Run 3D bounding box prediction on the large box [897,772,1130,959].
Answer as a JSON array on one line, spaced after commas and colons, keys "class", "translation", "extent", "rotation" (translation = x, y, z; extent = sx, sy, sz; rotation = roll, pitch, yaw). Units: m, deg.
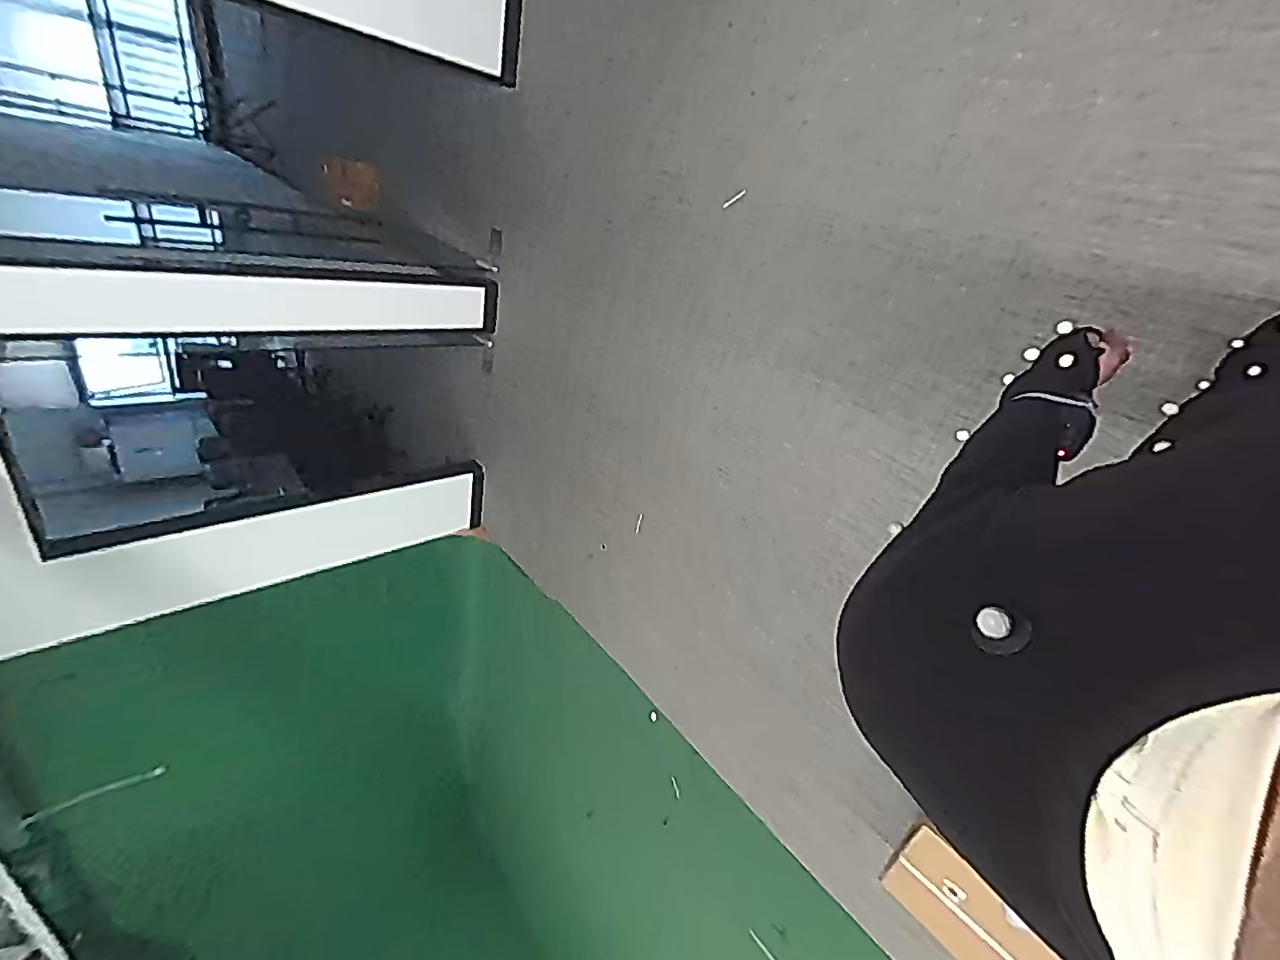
[{"class": "large box", "translation": [1.026, 1.135, 1.508], "extent": [0.408, 0.320, 0.320], "rotation": [35, 124, 37]}]
